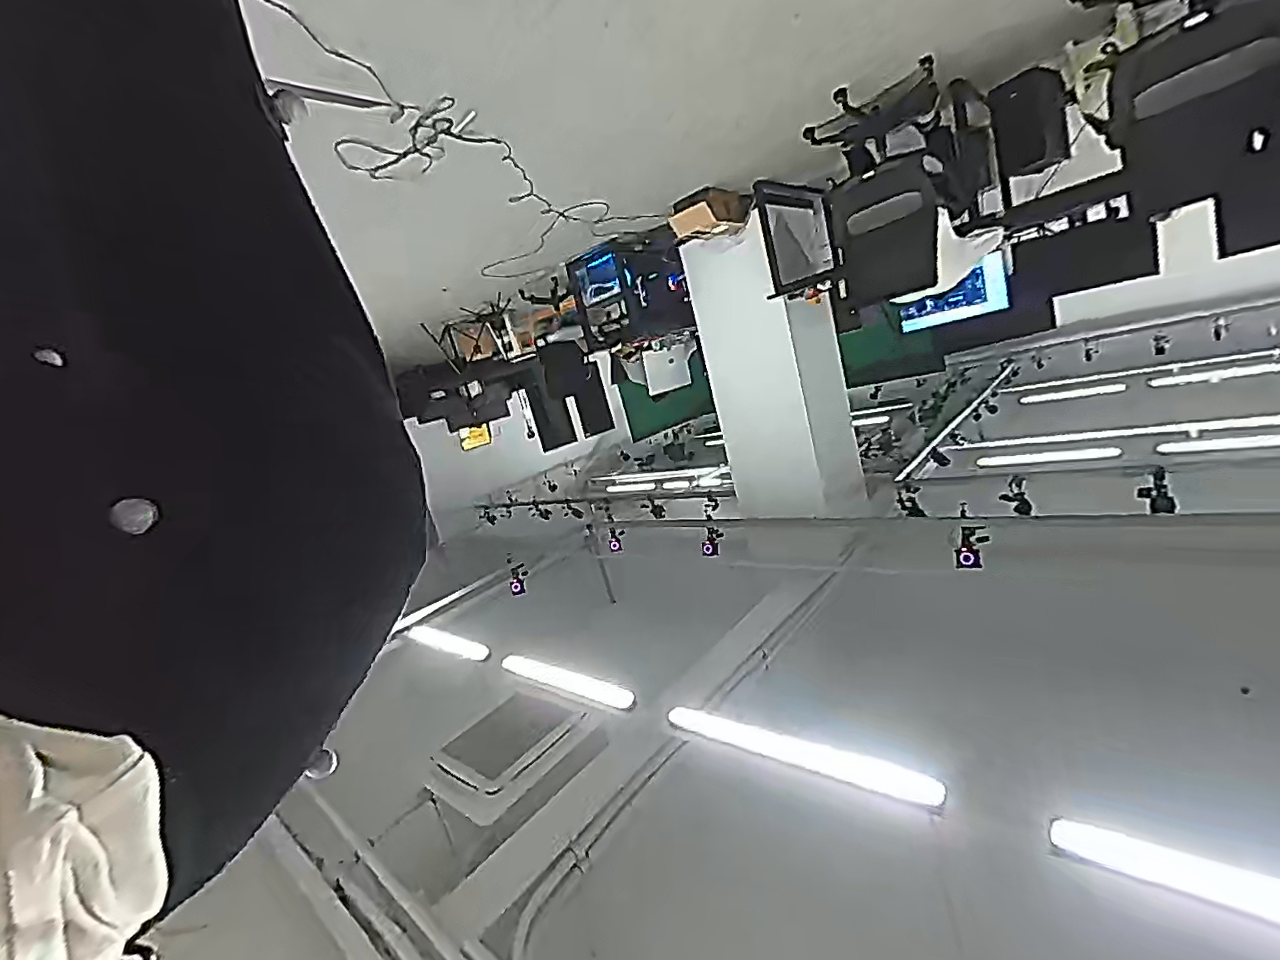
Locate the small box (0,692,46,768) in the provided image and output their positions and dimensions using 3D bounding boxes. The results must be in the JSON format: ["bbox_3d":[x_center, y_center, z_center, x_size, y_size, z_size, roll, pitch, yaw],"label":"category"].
[{"bbox_3d":[-2.019,0.794,1.691,0.179,0.176,0.168,-2,-162,39],"label":"small box"}]
